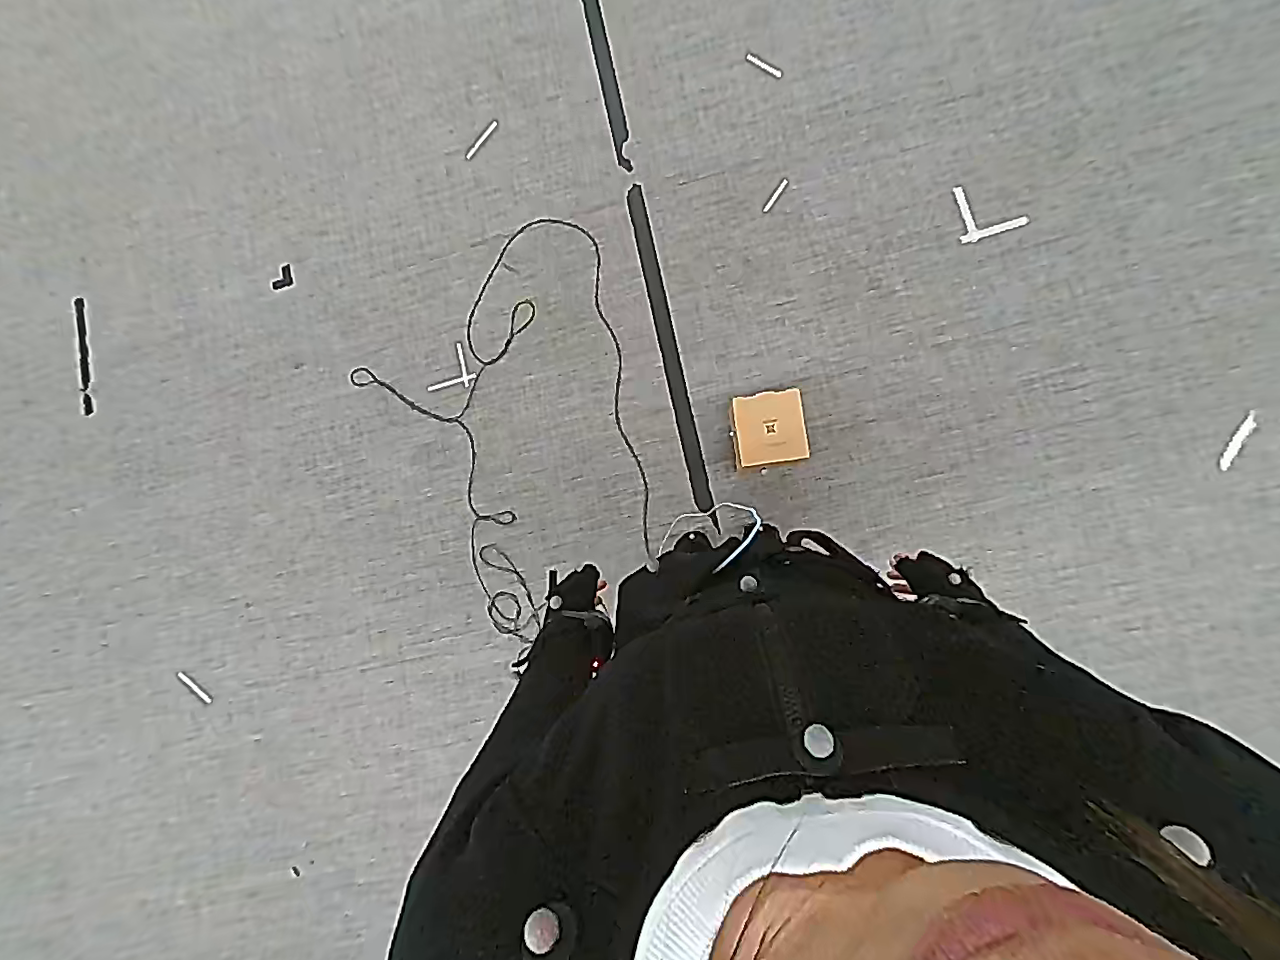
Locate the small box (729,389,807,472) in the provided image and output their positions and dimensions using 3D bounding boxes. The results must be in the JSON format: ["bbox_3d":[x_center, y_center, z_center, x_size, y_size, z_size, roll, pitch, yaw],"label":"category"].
[{"bbox_3d":[0.326,-0.123,1.407,0.168,0.176,0.179,-8,84,7],"label":"small box"}]
